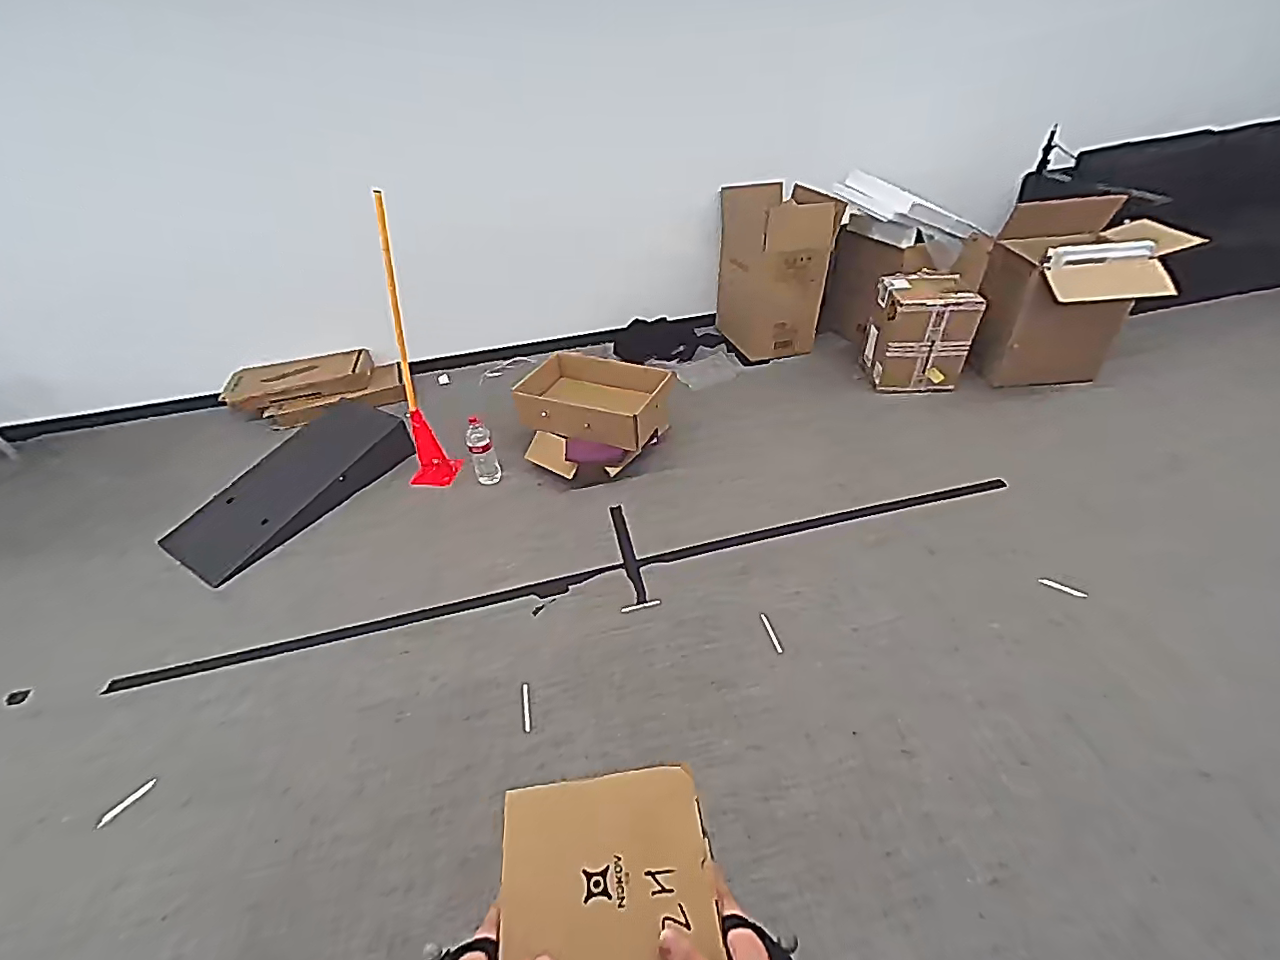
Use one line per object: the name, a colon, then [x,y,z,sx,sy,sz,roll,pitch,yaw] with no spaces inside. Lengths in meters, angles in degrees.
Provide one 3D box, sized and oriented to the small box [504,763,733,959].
small box: [-0.020,0.388,0.500,0.179,0.176,0.168,-6,45,-4]
